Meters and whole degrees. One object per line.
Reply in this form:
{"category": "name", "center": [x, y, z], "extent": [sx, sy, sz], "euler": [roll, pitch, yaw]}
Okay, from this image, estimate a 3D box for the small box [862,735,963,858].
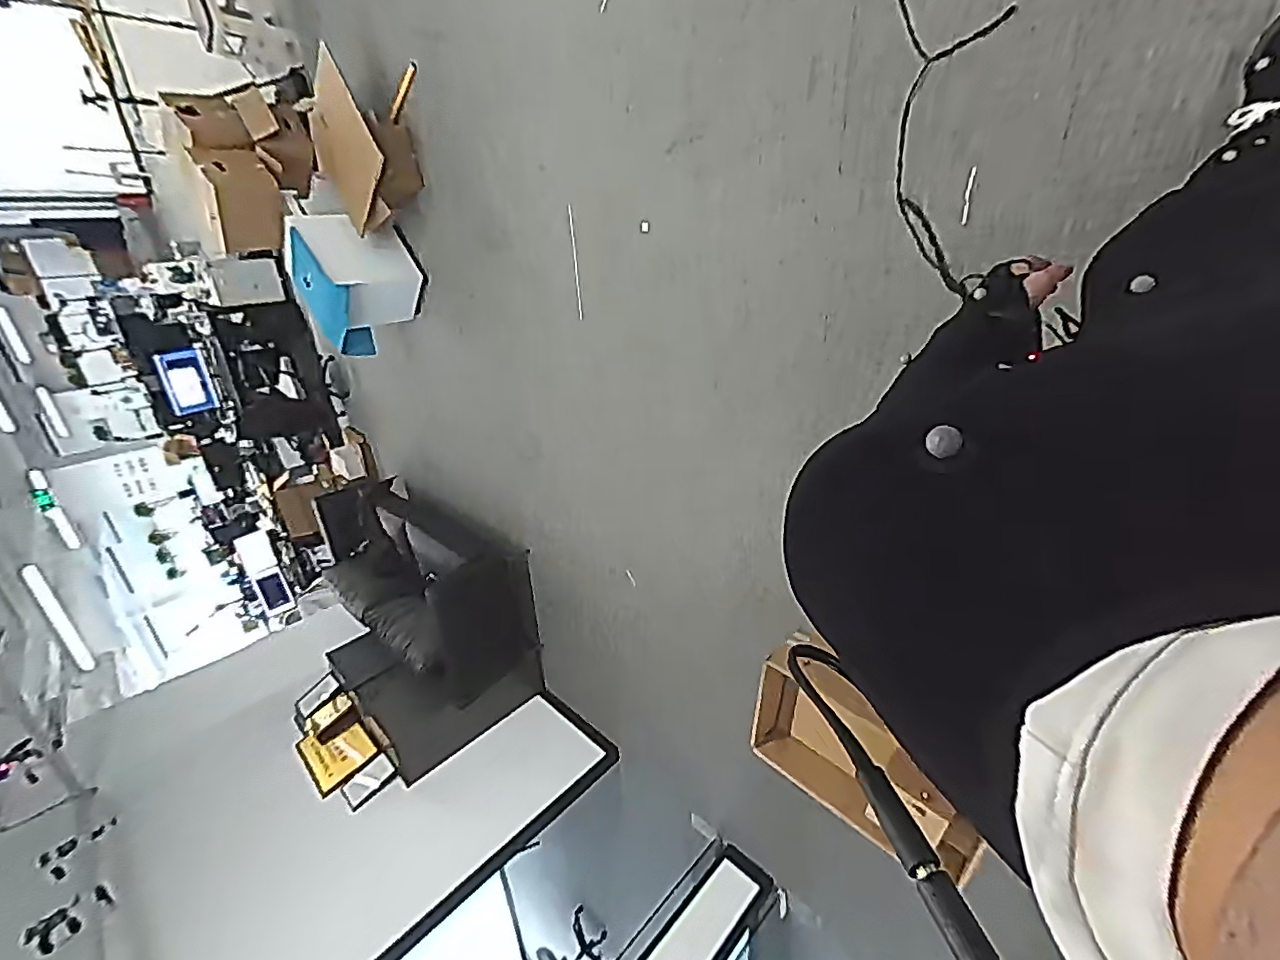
{"category": "small box", "center": [0.707, 0.812, 1.400], "extent": [0.168, 0.176, 0.179], "euler": [27, 127, 36]}
